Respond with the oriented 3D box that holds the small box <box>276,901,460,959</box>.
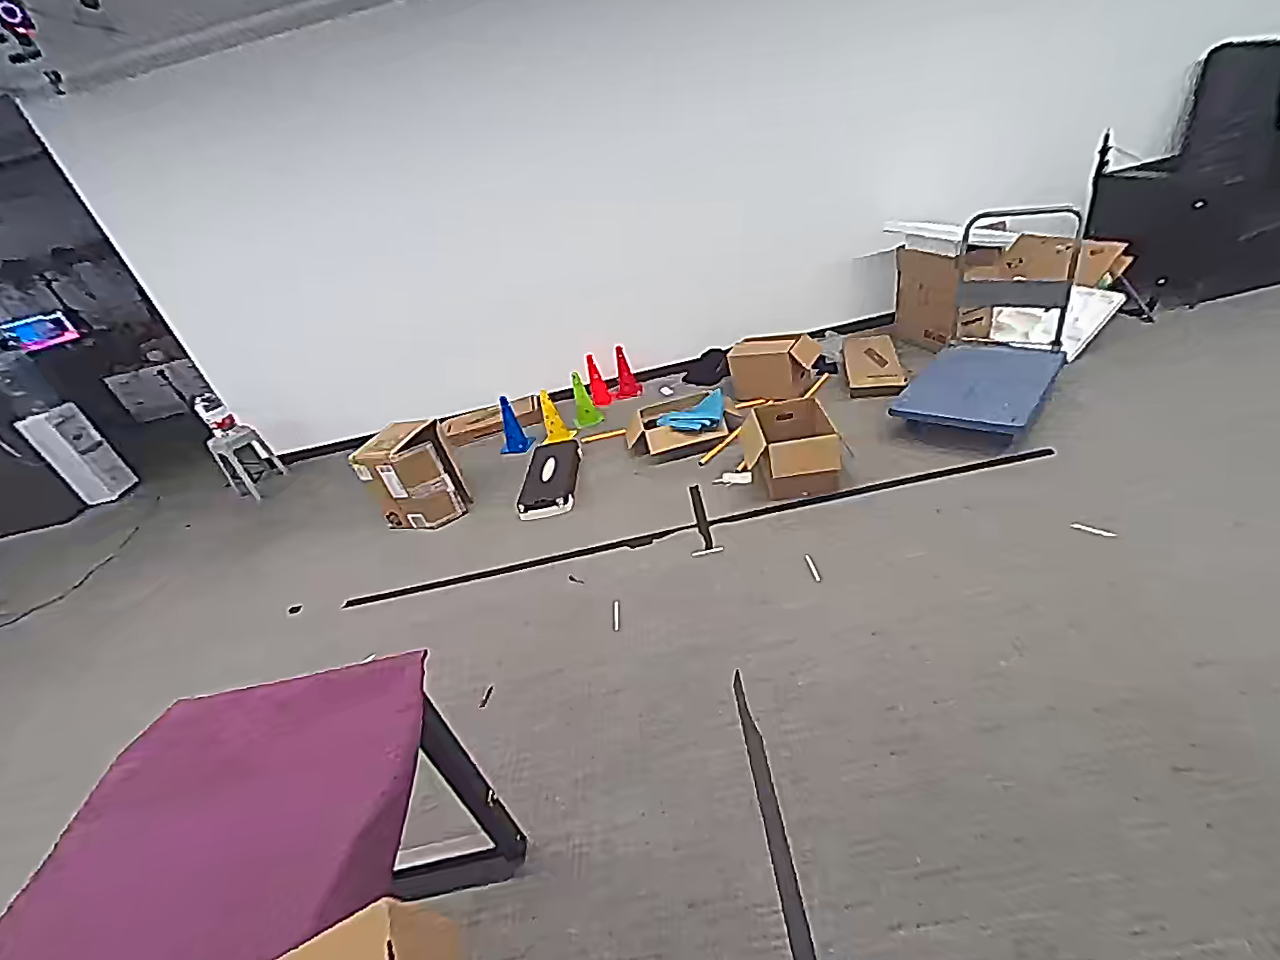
[{"bbox_3d":[-0.243,0.483,0.425,0.179,0.176,0.168,-23,46,-15],"label":"small box"}]
